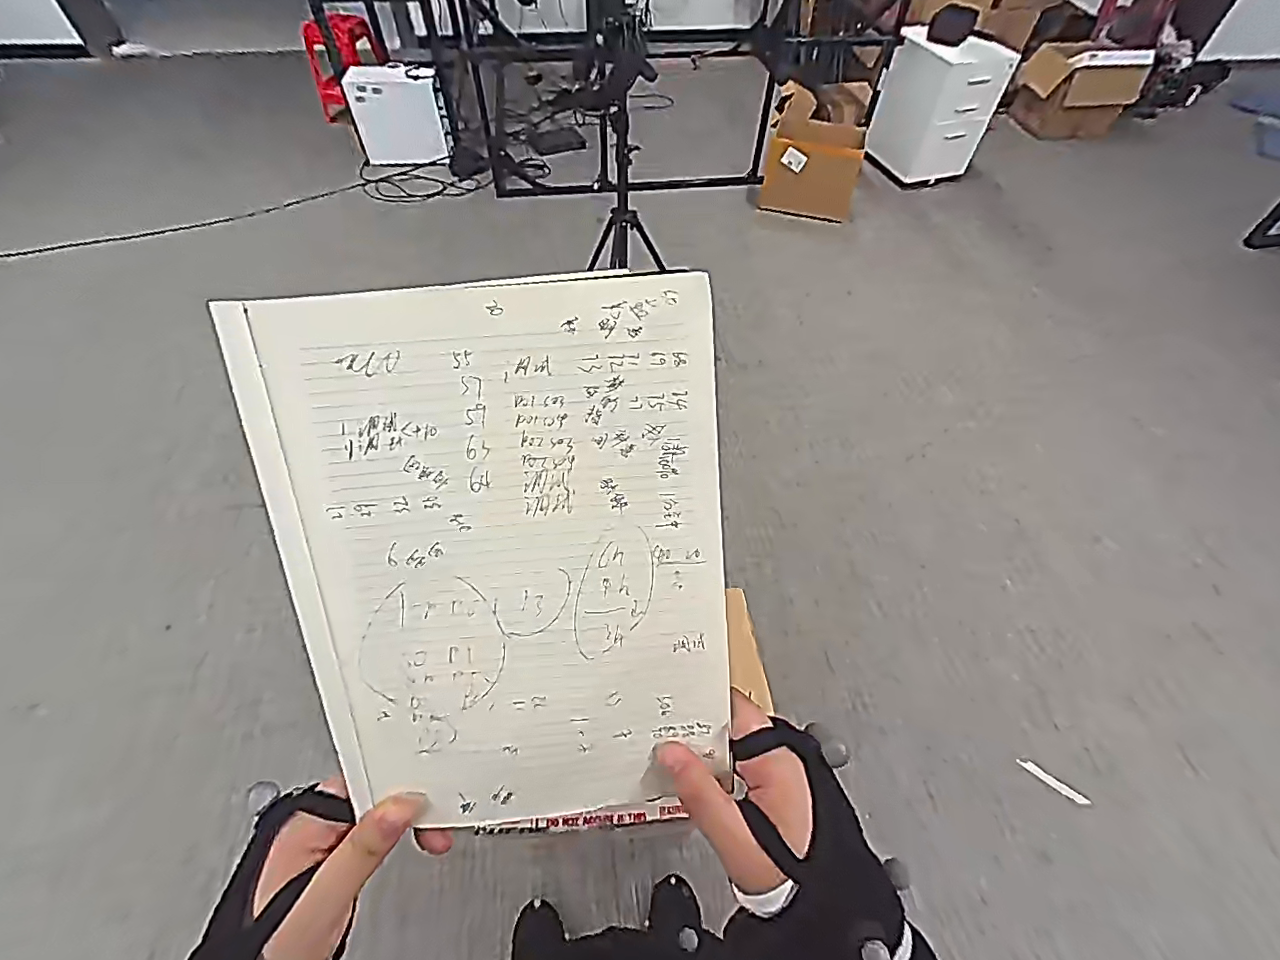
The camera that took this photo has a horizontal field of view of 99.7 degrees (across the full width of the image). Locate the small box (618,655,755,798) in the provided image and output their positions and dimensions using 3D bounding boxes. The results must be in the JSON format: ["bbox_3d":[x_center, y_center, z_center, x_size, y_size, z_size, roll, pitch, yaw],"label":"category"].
[{"bbox_3d":[0.061,0.394,0.859,0.179,0.176,0.168,-6,55,-8],"label":"small box"}]

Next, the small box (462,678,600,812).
[{"bbox_3d":[-0.154,0.412,0.838,0.179,0.176,0.168,-1,56,0],"label":"small box"}]
